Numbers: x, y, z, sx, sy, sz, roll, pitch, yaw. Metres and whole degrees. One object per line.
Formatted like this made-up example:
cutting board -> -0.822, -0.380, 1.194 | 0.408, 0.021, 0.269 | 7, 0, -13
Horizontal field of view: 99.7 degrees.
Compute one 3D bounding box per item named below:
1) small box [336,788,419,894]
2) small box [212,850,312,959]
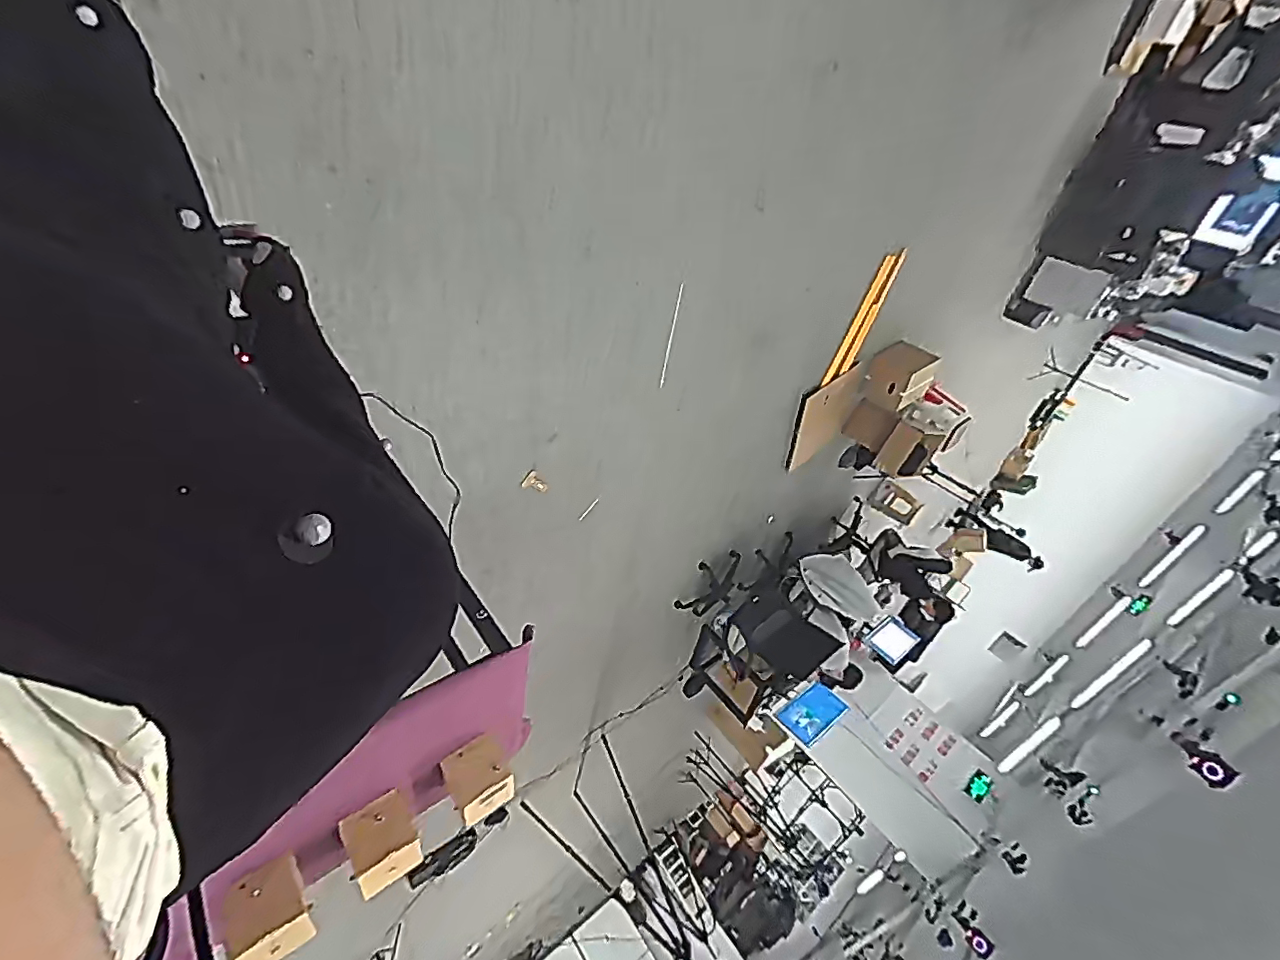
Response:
small box -> -0.759, 1.037, 1.566 | 0.168, 0.176, 0.179 | -20, 136, -35
small box -> -0.973, 1.108, 1.396 | 0.168, 0.176, 0.179 | -19, 136, -36
